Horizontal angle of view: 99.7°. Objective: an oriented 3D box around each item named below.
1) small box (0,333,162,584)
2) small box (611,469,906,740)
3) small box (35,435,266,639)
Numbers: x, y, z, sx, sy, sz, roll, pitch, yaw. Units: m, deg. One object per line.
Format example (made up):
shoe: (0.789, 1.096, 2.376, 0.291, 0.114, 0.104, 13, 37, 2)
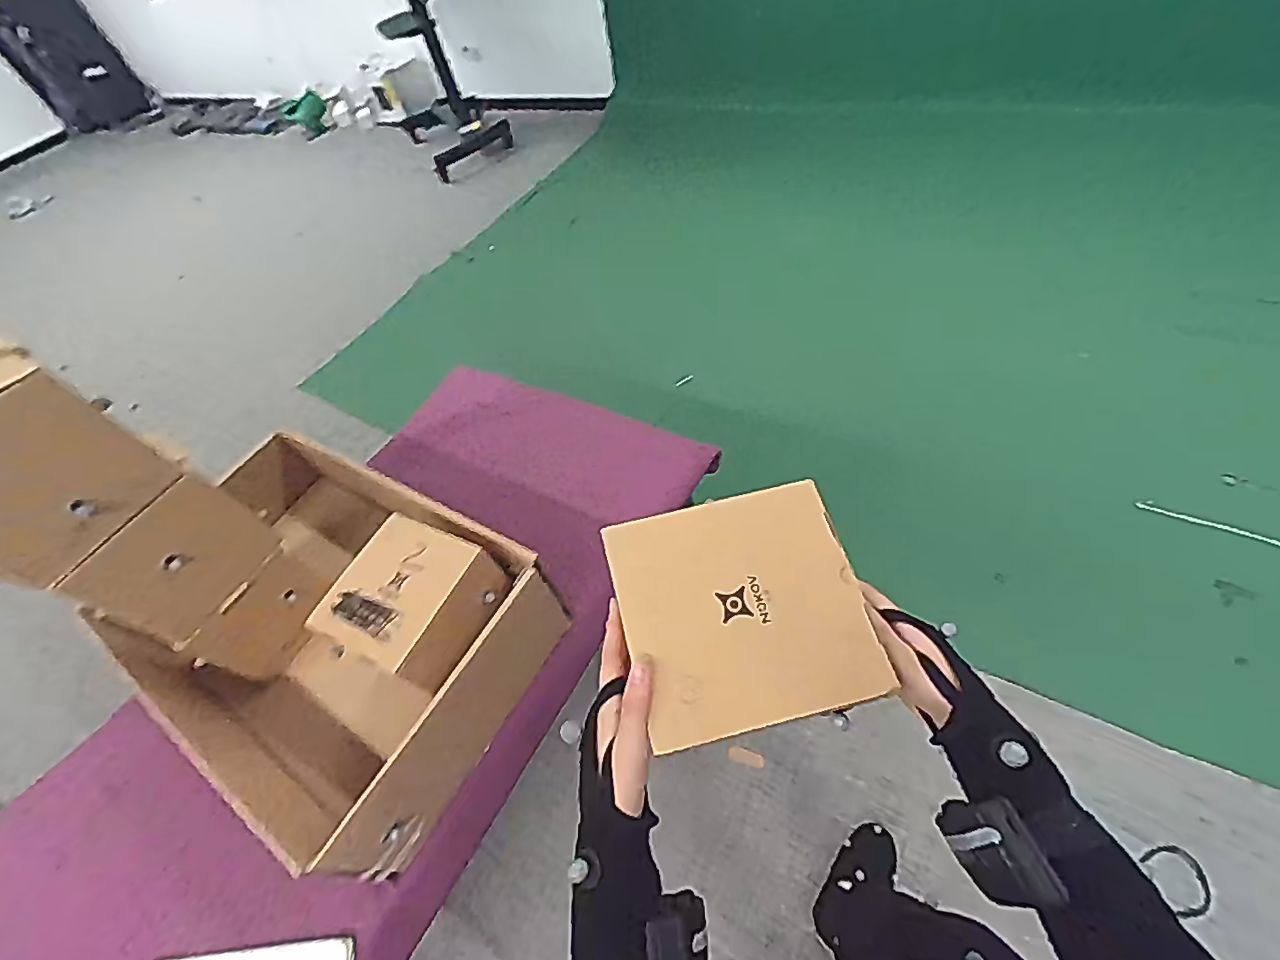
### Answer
small box: (-0.654, -0.027, 0.556, 0.168, 0.176, 0.179, 21, 60, 25)
small box: (0.080, 0.115, 0.461, 0.179, 0.176, 0.168, -12, 64, -5)
small box: (-0.624, 0.070, 0.686, 0.168, 0.176, 0.179, 19, 60, 23)
